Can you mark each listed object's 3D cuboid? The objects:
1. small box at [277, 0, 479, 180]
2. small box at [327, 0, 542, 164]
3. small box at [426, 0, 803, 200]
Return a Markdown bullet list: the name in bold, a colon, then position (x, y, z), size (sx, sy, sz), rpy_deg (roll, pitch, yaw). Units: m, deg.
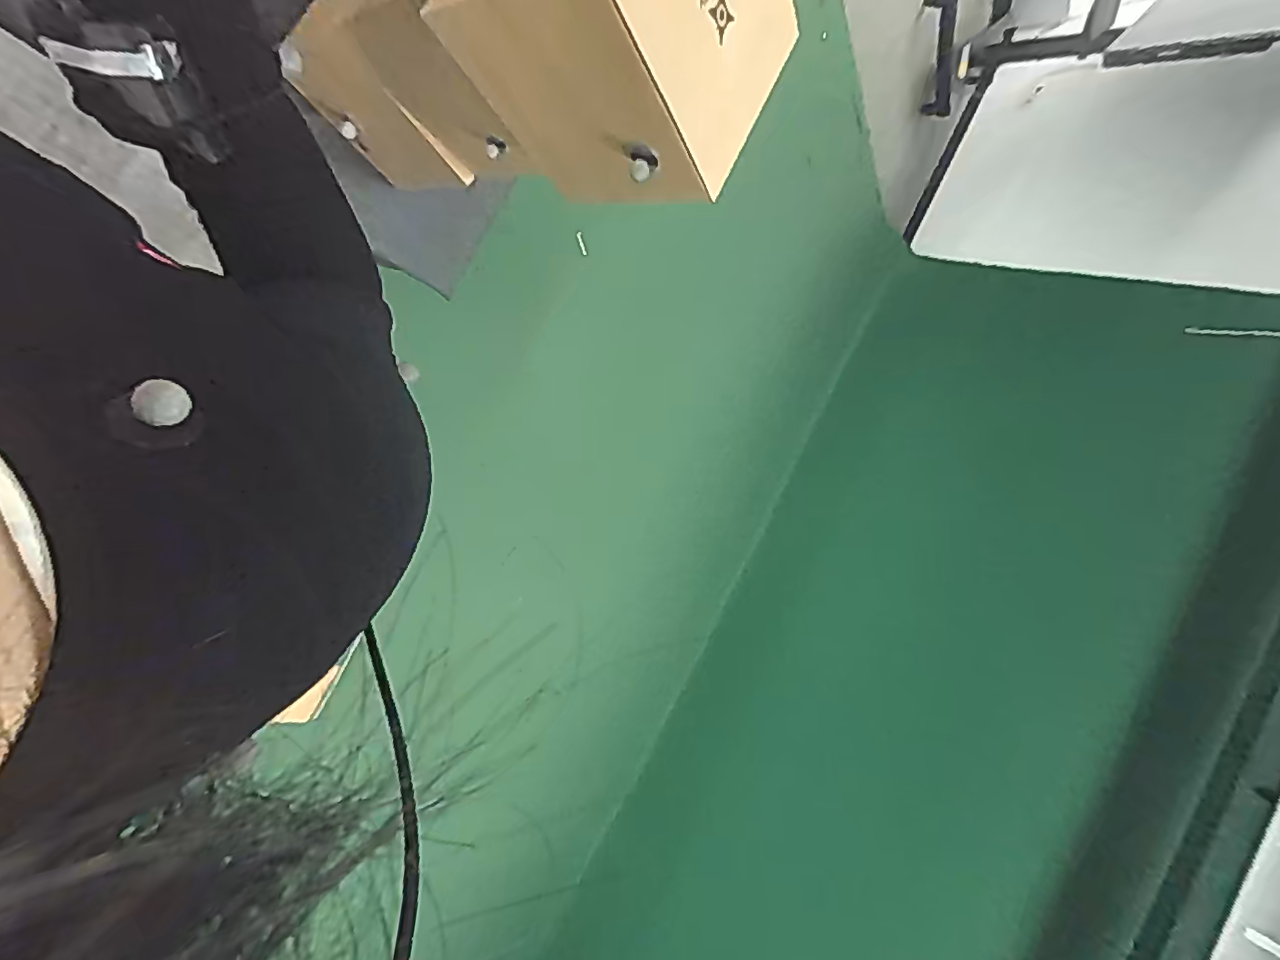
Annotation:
- **small box**: position (-0.246, -0.457, 0.582), size (0.179, 0.176, 0.168), rpy_deg (-61, 143, -8)
- **small box**: position (-0.130, -0.410, 0.478), size (0.179, 0.176, 0.168), rpy_deg (28, 84, -53)
- **small box**: position (-0.011, -0.335, 0.390), size (0.179, 0.176, 0.168), rpy_deg (36, 78, -53)
